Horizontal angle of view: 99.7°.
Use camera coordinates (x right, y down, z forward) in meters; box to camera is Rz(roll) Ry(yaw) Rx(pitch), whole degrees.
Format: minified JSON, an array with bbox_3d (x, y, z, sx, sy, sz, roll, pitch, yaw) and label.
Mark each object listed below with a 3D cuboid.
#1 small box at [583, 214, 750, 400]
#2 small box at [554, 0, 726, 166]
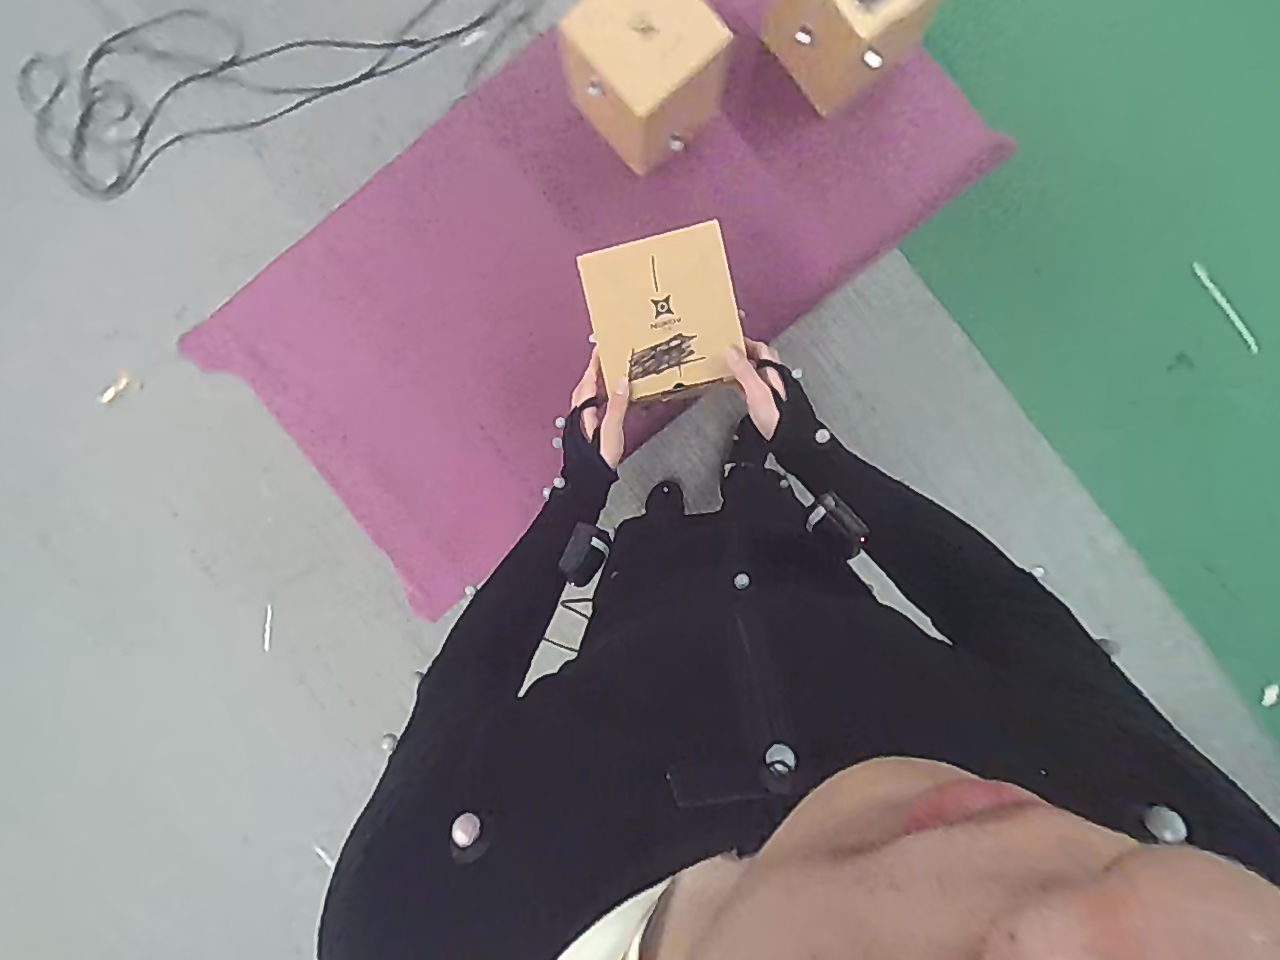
[{"bbox_3d":[0.037,-0.200,0.683,0.168,0.176,0.179,-11,93,5],"label":"small box"},{"bbox_3d":[-0.001,-0.618,0.799,0.168,0.176,0.179,-41,92,2],"label":"small box"}]
